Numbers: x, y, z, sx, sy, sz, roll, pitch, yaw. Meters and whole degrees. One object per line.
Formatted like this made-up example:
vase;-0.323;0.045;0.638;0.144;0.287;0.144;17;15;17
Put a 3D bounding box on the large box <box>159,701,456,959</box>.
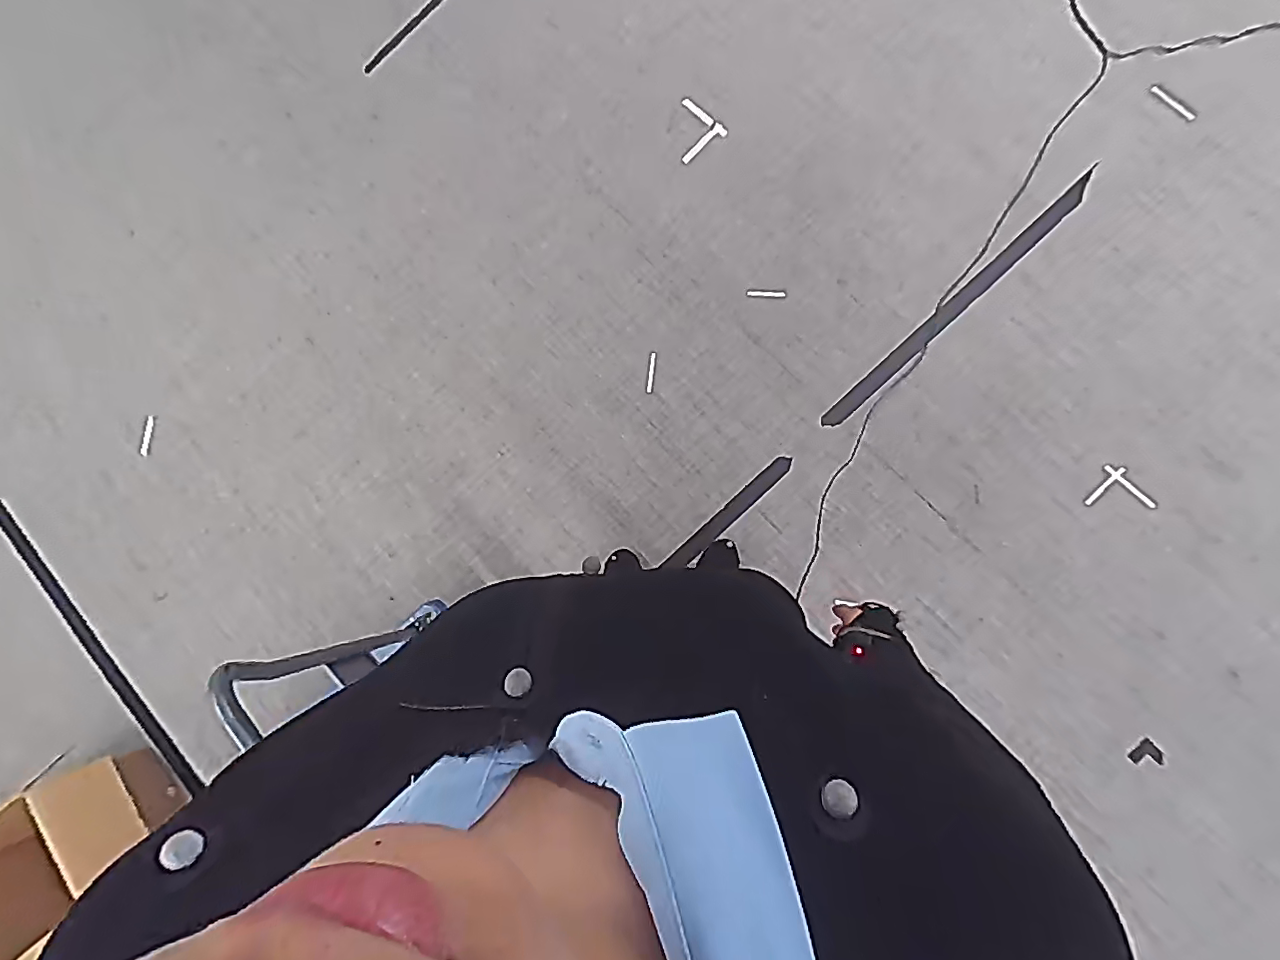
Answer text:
large box;-0.692;0.778;1.184;0.320;0.320;0.408;-41;82;1
